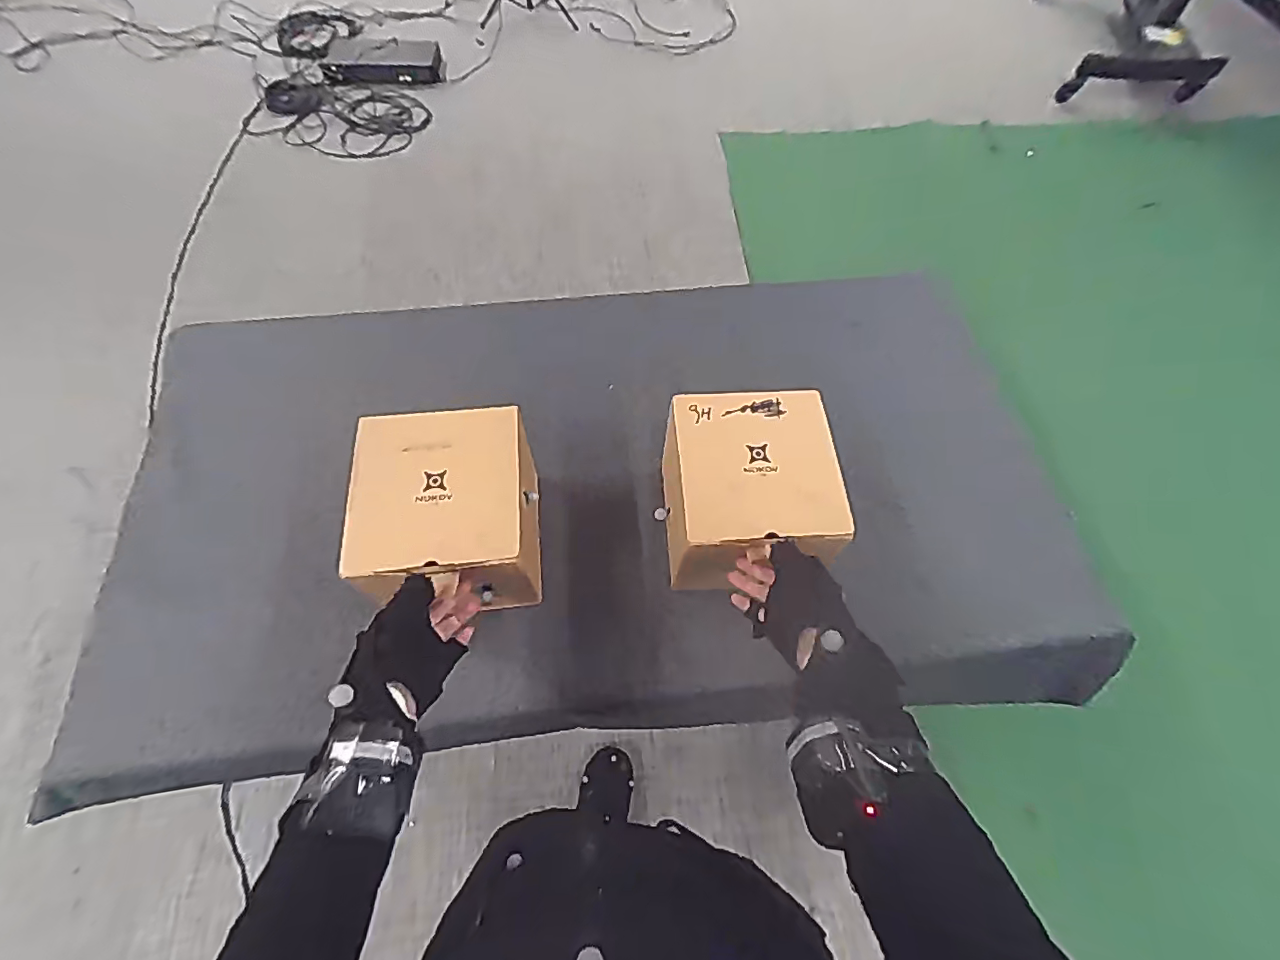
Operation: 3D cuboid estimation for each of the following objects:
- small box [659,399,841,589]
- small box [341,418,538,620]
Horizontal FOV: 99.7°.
[{"bbox_3d":[0.112,0.025,0.635,0.168,0.176,0.179,-2,64,-3],"label":"small box"},{"bbox_3d":[-0.210,0.053,0.615,0.168,0.176,0.179,-6,62,-6],"label":"small box"}]
